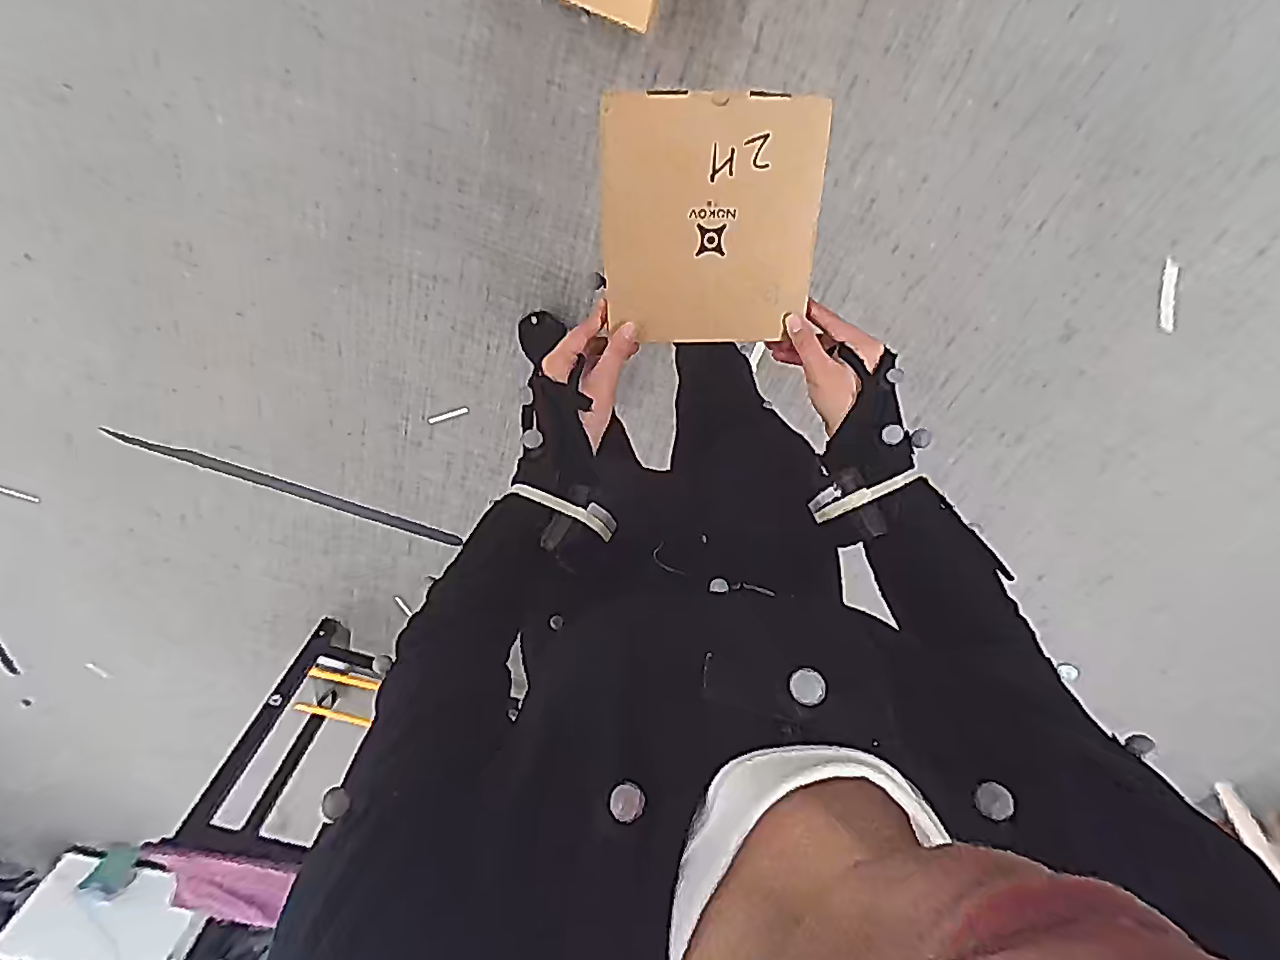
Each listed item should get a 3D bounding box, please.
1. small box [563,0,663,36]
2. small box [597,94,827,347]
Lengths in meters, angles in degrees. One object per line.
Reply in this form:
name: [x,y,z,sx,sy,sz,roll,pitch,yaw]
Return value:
small box: [-0.040,-0.785,0.793,0.179,0.176,0.168,18,127,-6]
small box: [0.046,-0.226,0.488,0.168,0.176,0.179,-2,116,-4]
